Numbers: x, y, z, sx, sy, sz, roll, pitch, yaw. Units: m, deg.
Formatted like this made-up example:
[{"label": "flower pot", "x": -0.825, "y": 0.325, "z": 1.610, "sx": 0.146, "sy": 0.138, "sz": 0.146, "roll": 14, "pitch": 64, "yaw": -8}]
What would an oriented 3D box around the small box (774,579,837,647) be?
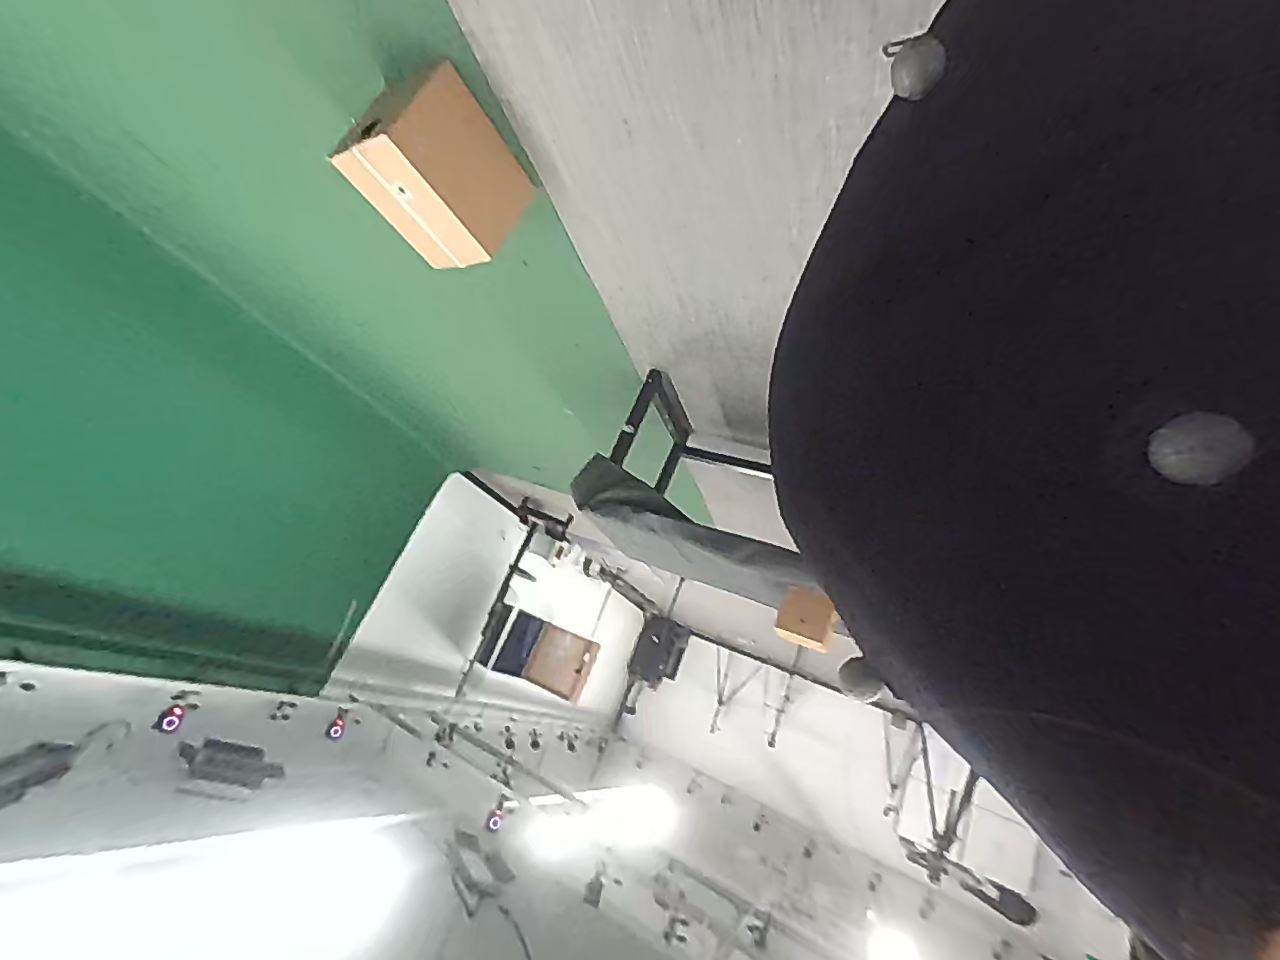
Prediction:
[{"label": "small box", "x": 0.592, "y": 0.469, "z": 1.915, "sx": 0.179, "sy": 0.176, "sz": 0.168, "roll": 16, "pitch": 160, "yaw": 28}]
